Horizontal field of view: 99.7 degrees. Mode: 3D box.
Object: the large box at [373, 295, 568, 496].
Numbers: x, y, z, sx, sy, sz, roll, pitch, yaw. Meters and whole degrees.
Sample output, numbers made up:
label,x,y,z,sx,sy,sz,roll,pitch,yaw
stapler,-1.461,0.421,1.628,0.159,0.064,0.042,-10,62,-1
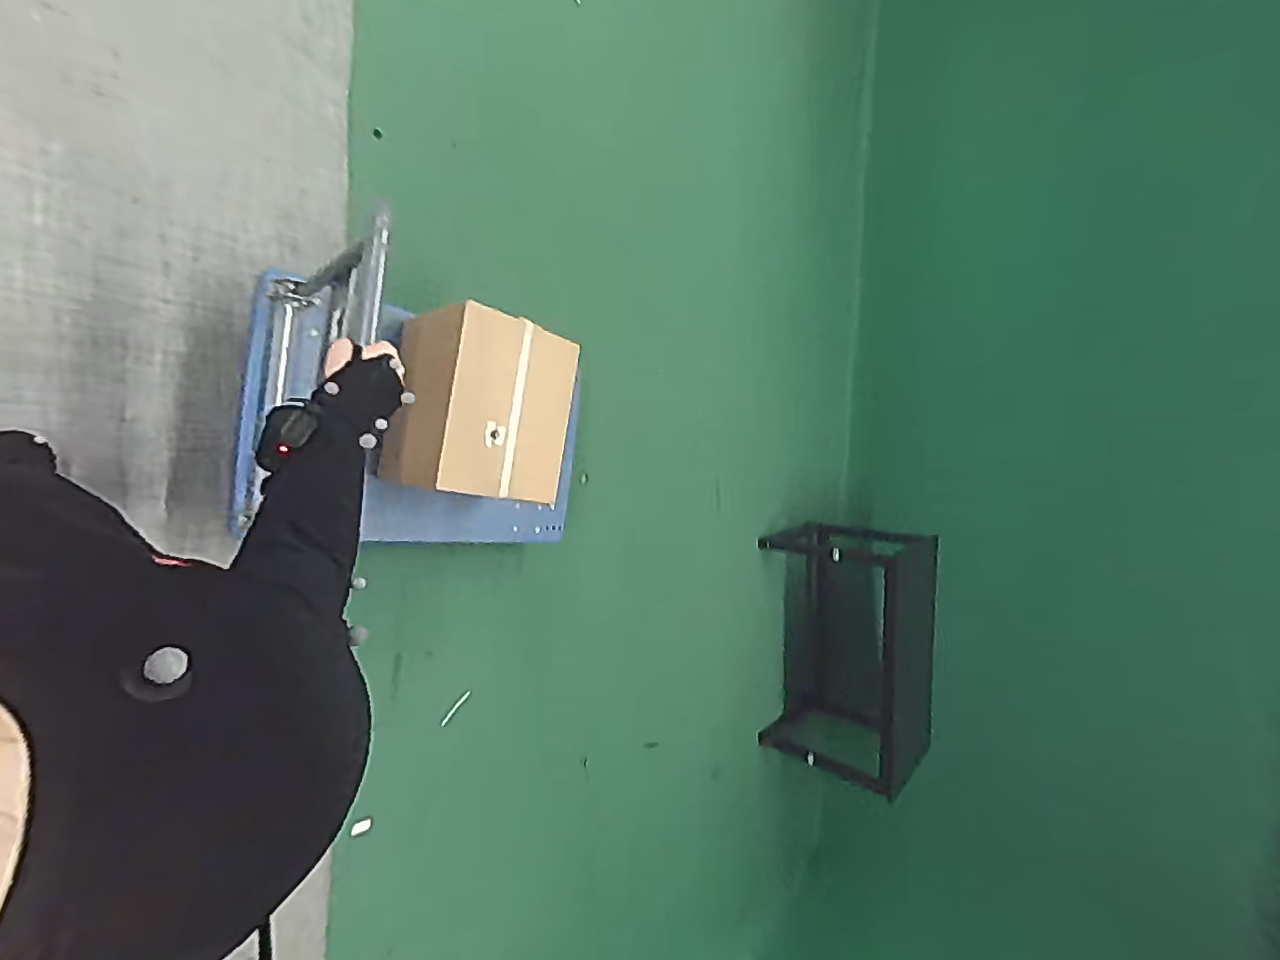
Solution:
label,x,y,z,sx,sy,sz,roll,pitch,yaw
large box,-0.415,-0.189,1.328,0.320,0.320,0.408,11,86,-46
